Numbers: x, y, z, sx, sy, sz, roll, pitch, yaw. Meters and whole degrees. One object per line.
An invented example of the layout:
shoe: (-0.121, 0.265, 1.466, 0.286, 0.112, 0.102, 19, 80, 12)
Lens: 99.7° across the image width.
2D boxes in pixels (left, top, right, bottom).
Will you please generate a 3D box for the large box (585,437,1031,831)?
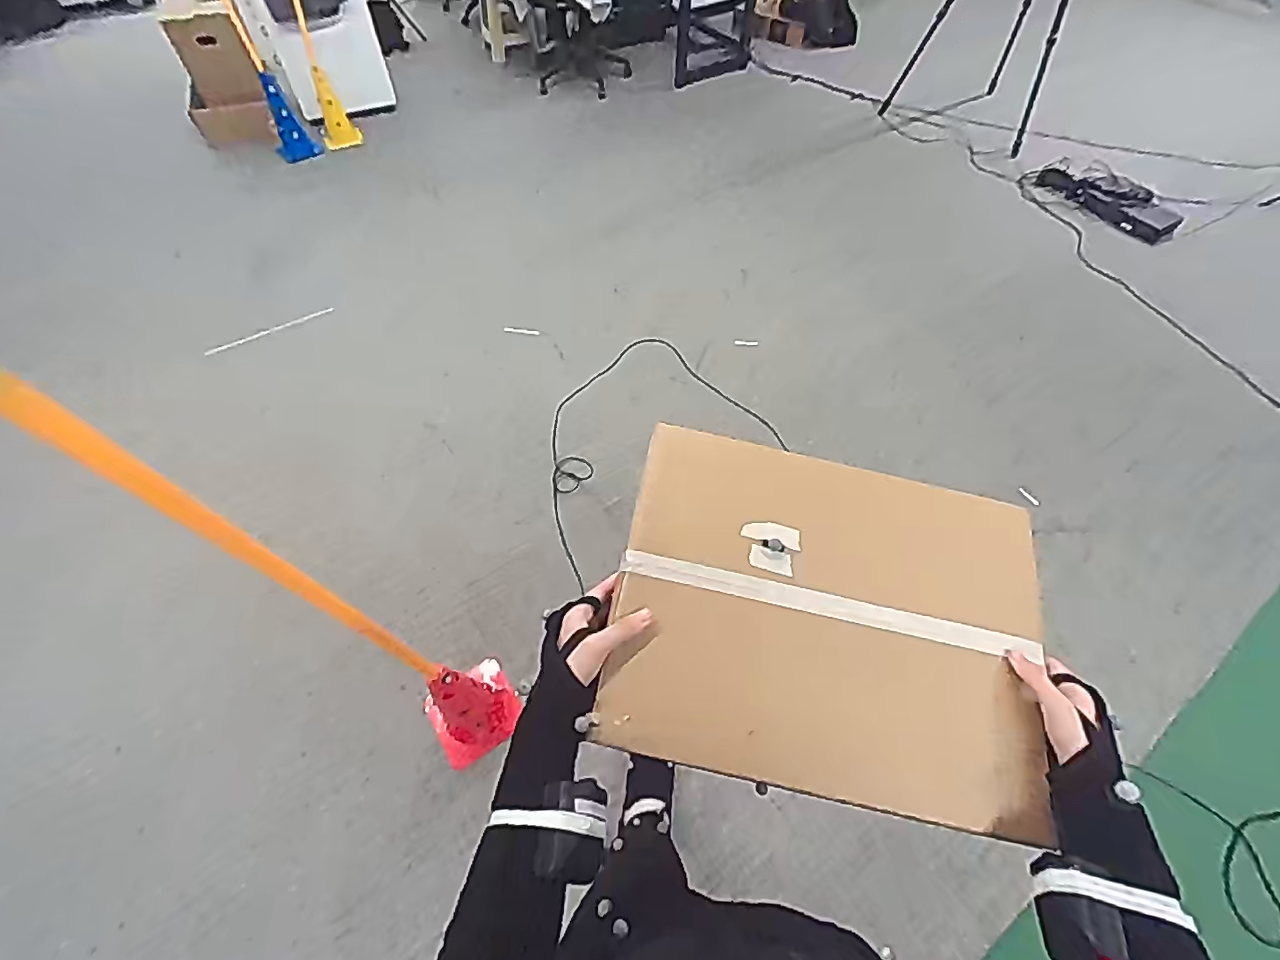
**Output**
large box: (0.166, 0.185, 0.663, 0.408, 0.320, 0.320, 13, 66, 1)
